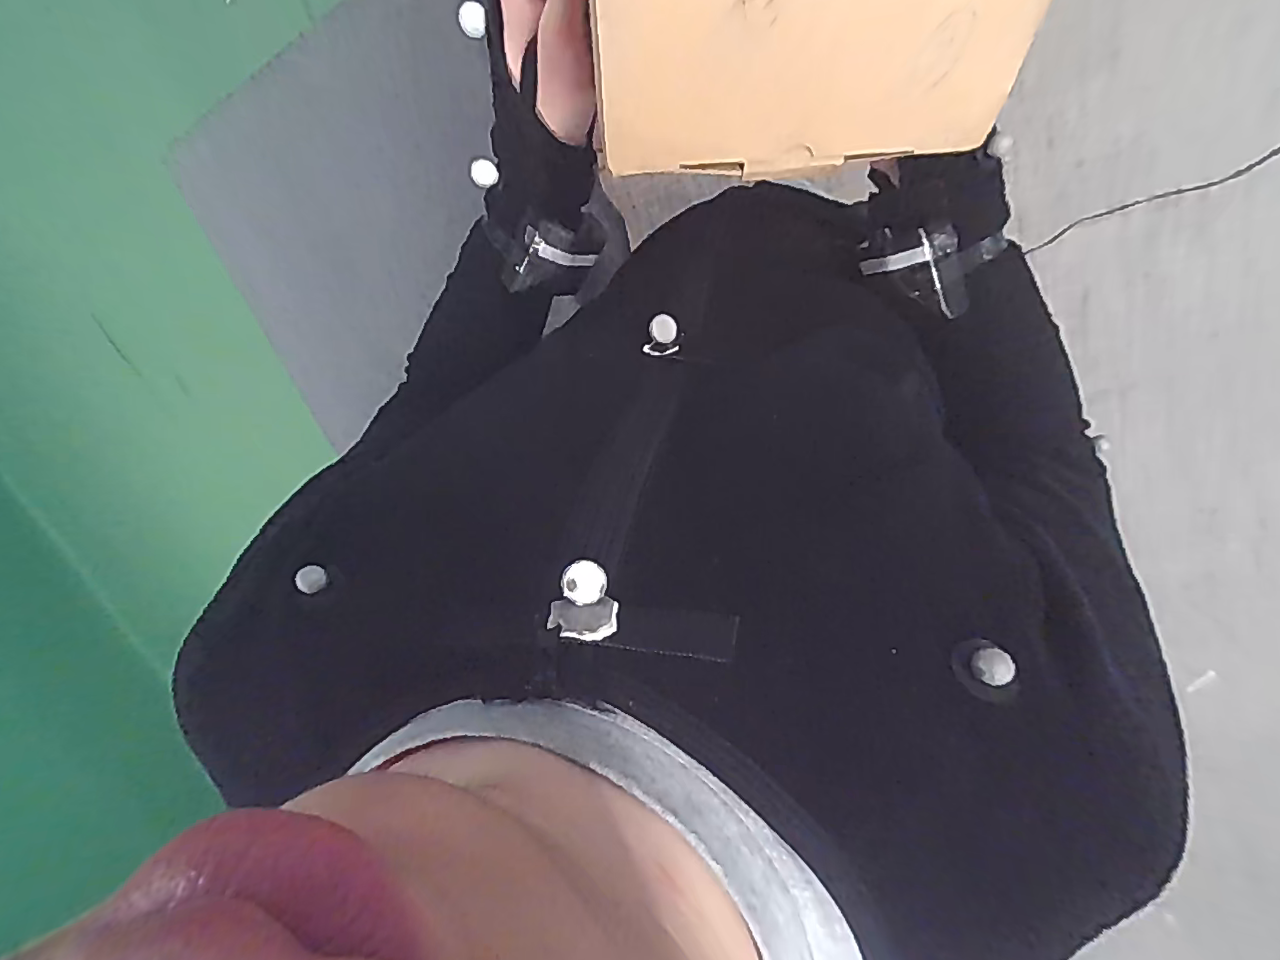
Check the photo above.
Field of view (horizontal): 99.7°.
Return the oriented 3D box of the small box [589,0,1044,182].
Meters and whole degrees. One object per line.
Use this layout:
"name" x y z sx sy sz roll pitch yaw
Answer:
"small box" 0.058 -0.252 0.215 0.168 0.176 0.179 -6 146 -2
